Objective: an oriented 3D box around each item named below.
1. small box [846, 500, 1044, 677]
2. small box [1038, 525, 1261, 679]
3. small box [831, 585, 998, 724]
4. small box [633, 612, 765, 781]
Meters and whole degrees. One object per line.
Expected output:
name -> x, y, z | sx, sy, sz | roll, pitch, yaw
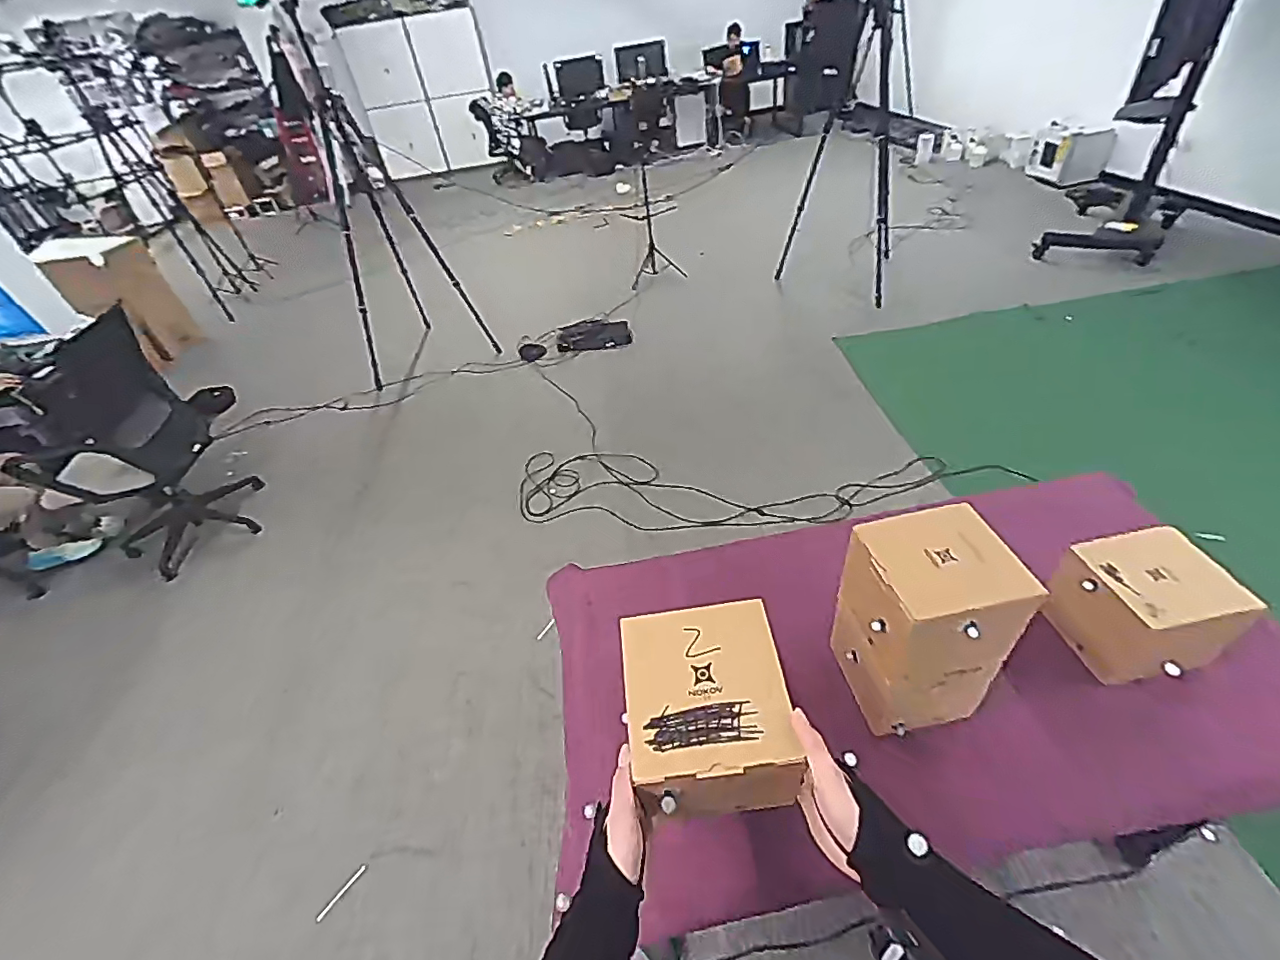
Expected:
small box -> 0.409, 0.157, 0.768 | 0.179, 0.176, 0.168 | -11, 42, -3
small box -> 0.812, 0.202, 0.889 | 0.179, 0.176, 0.168 | -11, 41, -1
small box -> 0.428, 0.275, 0.879 | 0.168, 0.176, 0.179 | -11, 41, -2
small box -> 0.090, 0.344, 0.862 | 0.168, 0.176, 0.179 | -12, 42, -3
